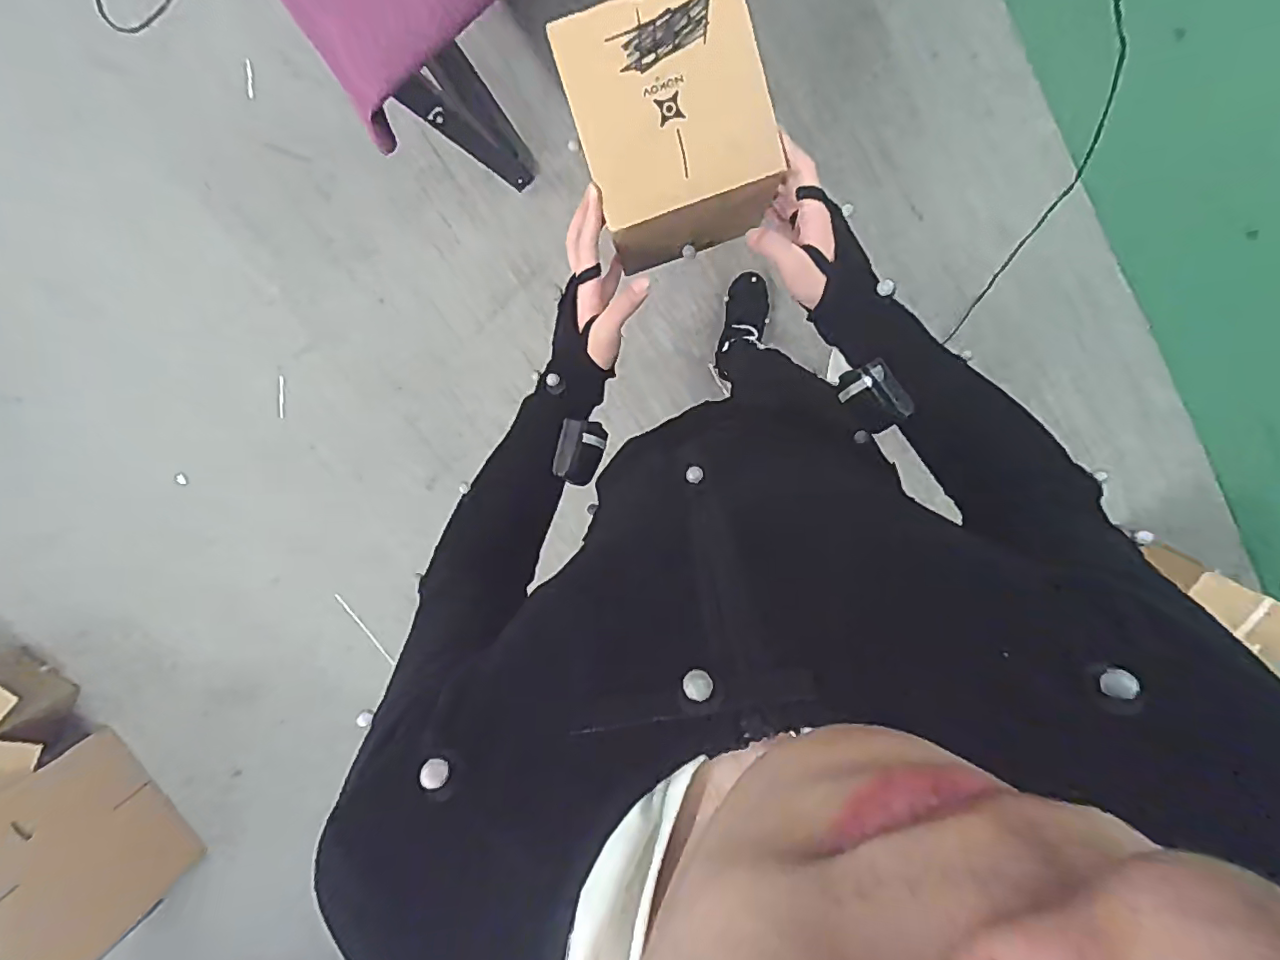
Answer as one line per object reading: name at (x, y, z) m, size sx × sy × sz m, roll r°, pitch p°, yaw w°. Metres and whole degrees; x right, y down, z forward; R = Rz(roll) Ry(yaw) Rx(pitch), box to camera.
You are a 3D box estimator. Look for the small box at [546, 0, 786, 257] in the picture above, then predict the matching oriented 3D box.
small box at (0.026, -0.351, 0.534) m, size 0.168 × 0.176 × 0.179 m, roll -18°, pitch 96°, yaw 7°
